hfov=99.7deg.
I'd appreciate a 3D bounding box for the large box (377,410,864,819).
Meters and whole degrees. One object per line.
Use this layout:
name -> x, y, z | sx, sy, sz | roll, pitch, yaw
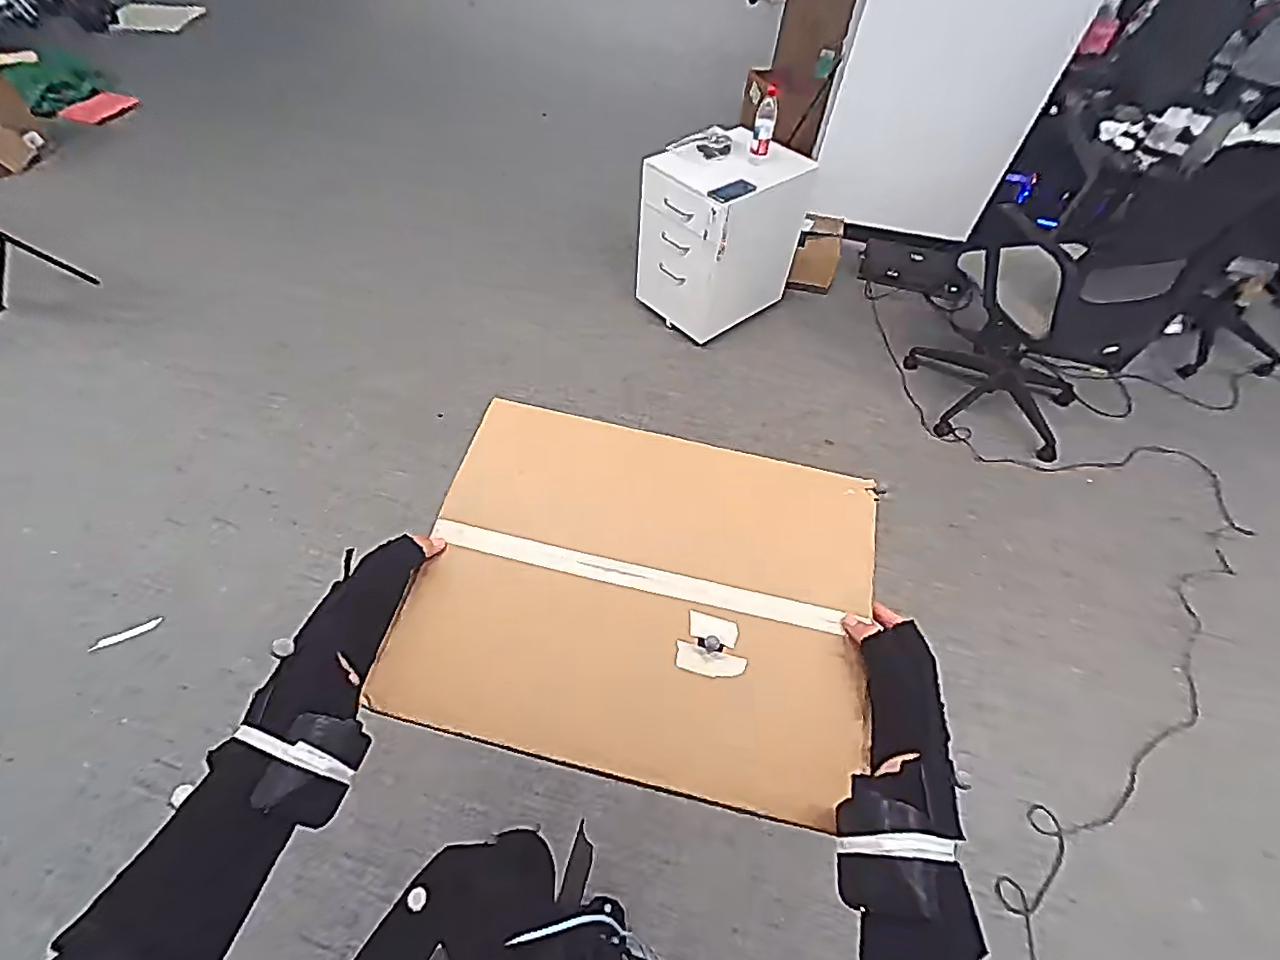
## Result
large box -> -0.003, 0.163, 0.630 | 0.408, 0.320, 0.320 | 13, 63, 3
